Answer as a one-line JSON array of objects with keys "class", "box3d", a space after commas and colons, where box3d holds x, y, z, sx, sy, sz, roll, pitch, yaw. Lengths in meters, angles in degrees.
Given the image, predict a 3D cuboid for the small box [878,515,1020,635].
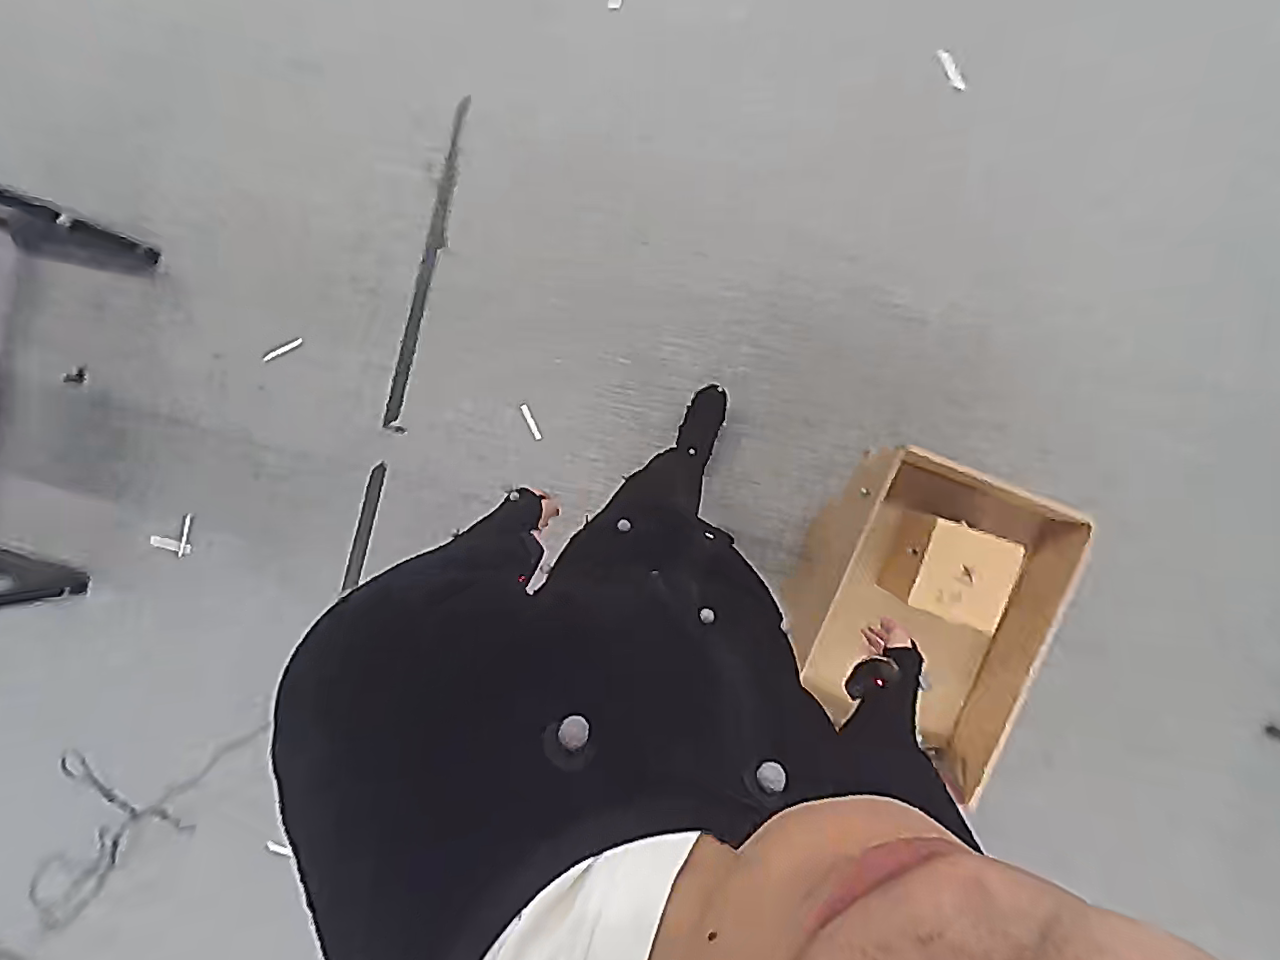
[{"class": "small box", "box3d": [0.606, 0.179, 1.087, 0.168, 0.176, 0.179, 20, 93, 5]}]
